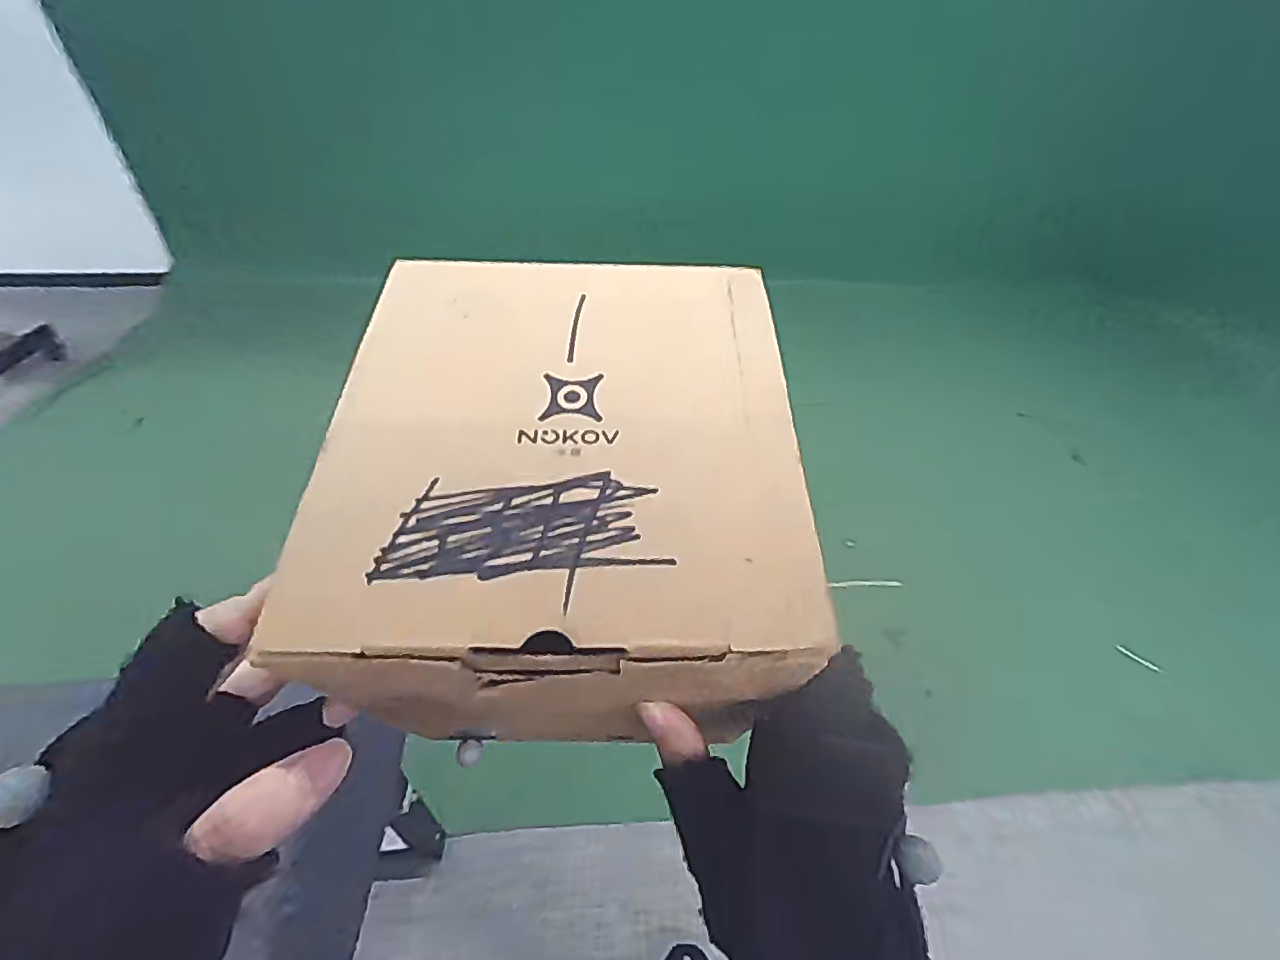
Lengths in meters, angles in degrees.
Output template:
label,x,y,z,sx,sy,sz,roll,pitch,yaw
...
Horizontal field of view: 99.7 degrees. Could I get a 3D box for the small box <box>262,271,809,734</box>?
label,x,y,z,sx,sy,sz,roll,pitch,yaw
small box,-0.029,0.022,0.268,0.168,0.176,0.179,1,57,0
